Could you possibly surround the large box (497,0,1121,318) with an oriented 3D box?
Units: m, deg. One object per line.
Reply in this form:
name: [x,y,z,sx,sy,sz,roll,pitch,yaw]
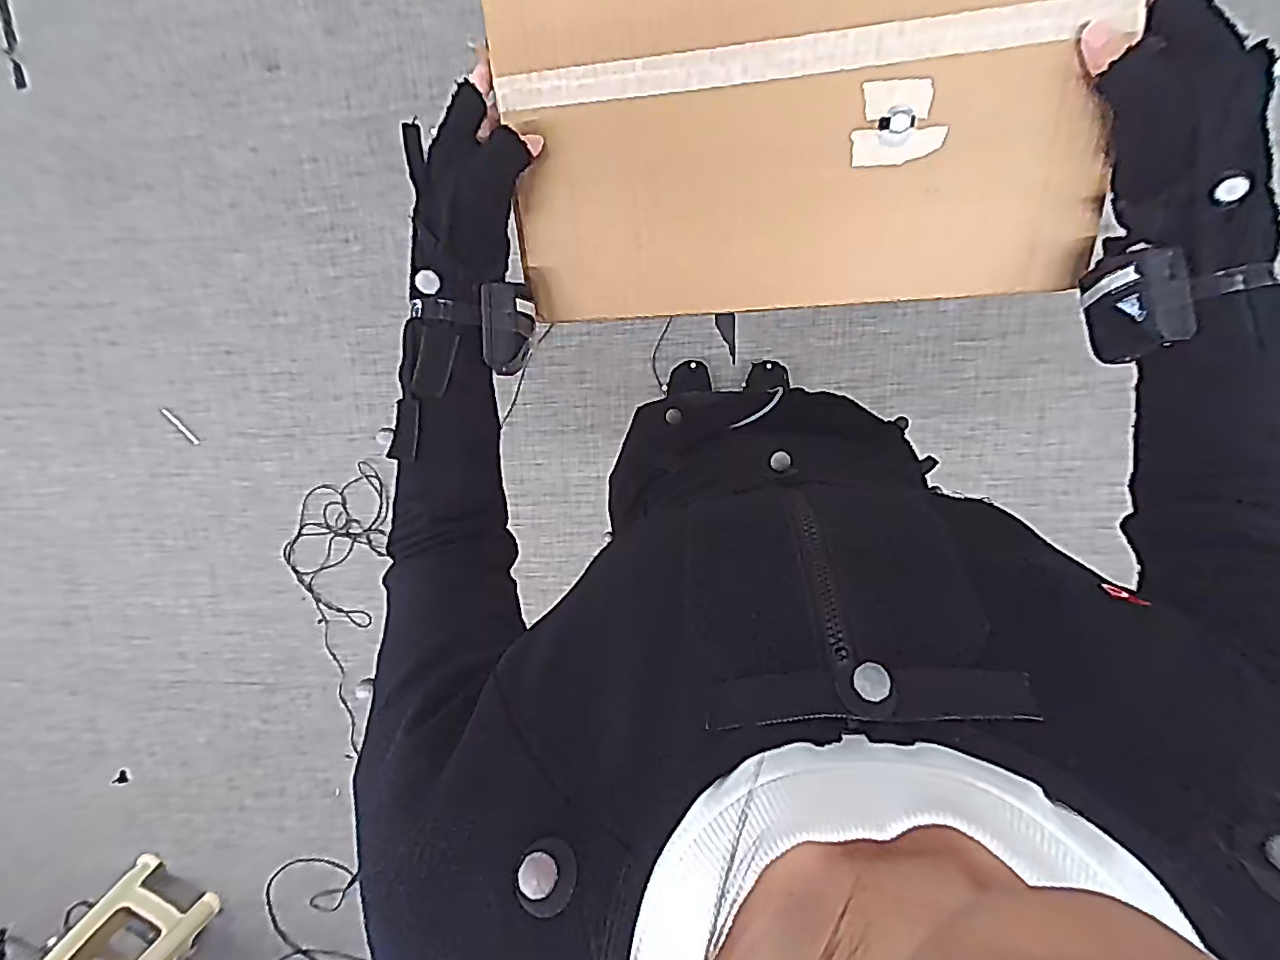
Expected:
large box: [0.118,-0.339,0.502,0.408,0.320,0.320,-2,112,8]
